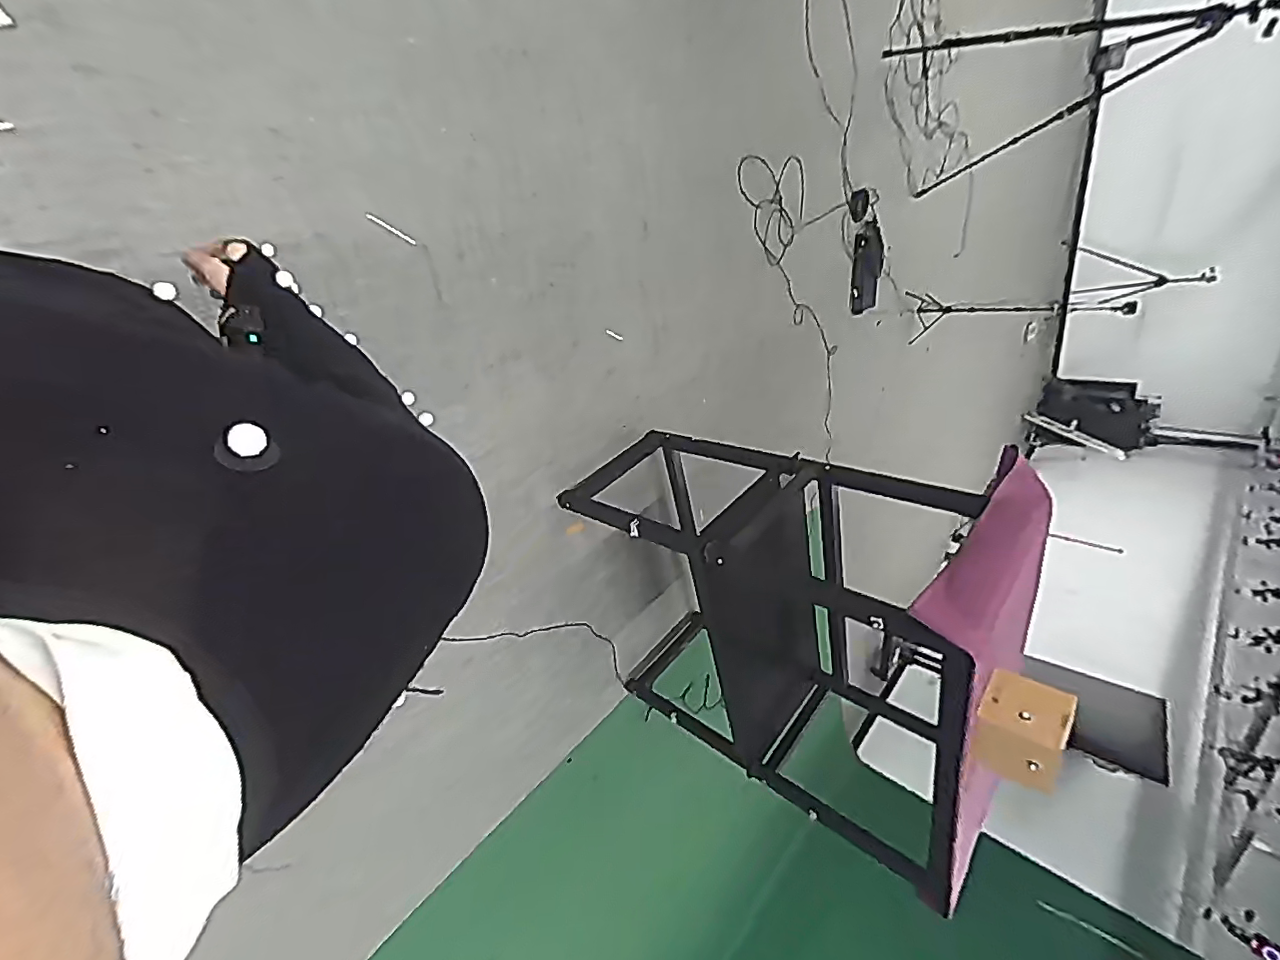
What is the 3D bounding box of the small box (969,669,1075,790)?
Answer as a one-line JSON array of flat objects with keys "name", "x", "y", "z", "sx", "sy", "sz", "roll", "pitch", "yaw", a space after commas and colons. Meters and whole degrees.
[{"name": "small box", "x": 0.896, "y": 0.575, "z": 1.277, "sx": 0.168, "sy": 0.176, "sz": 0.179, "roll": -35, "pitch": 125, "yaw": -35}]
